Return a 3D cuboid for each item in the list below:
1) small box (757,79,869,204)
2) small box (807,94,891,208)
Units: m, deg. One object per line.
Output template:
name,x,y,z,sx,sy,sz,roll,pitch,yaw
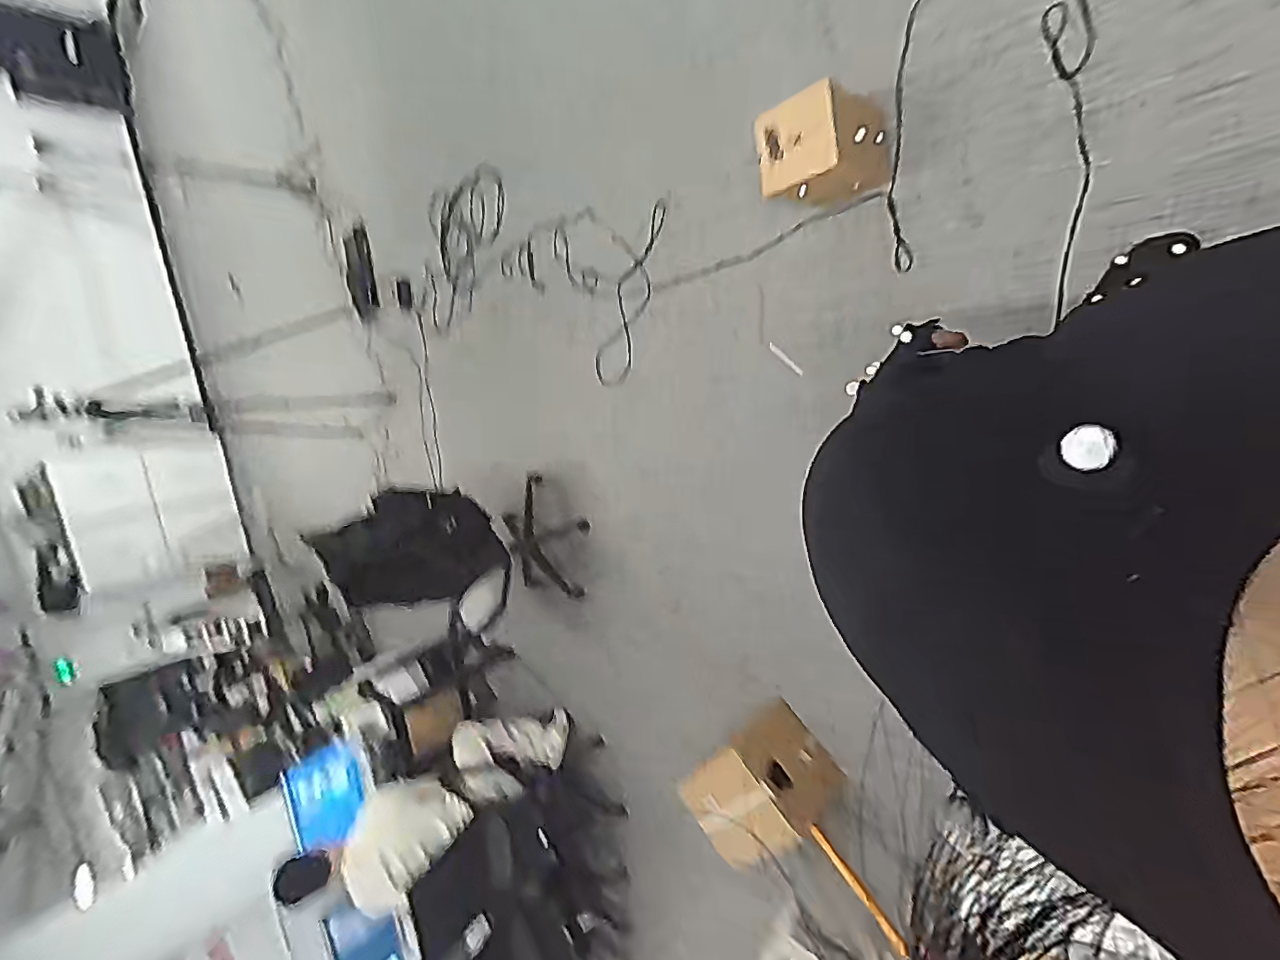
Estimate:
small box,0.386,-0.736,1.203,0.179,0.176,0.168,-2,101,44
small box,0.493,-0.788,1.318,0.179,0.176,0.168,-7,97,46
